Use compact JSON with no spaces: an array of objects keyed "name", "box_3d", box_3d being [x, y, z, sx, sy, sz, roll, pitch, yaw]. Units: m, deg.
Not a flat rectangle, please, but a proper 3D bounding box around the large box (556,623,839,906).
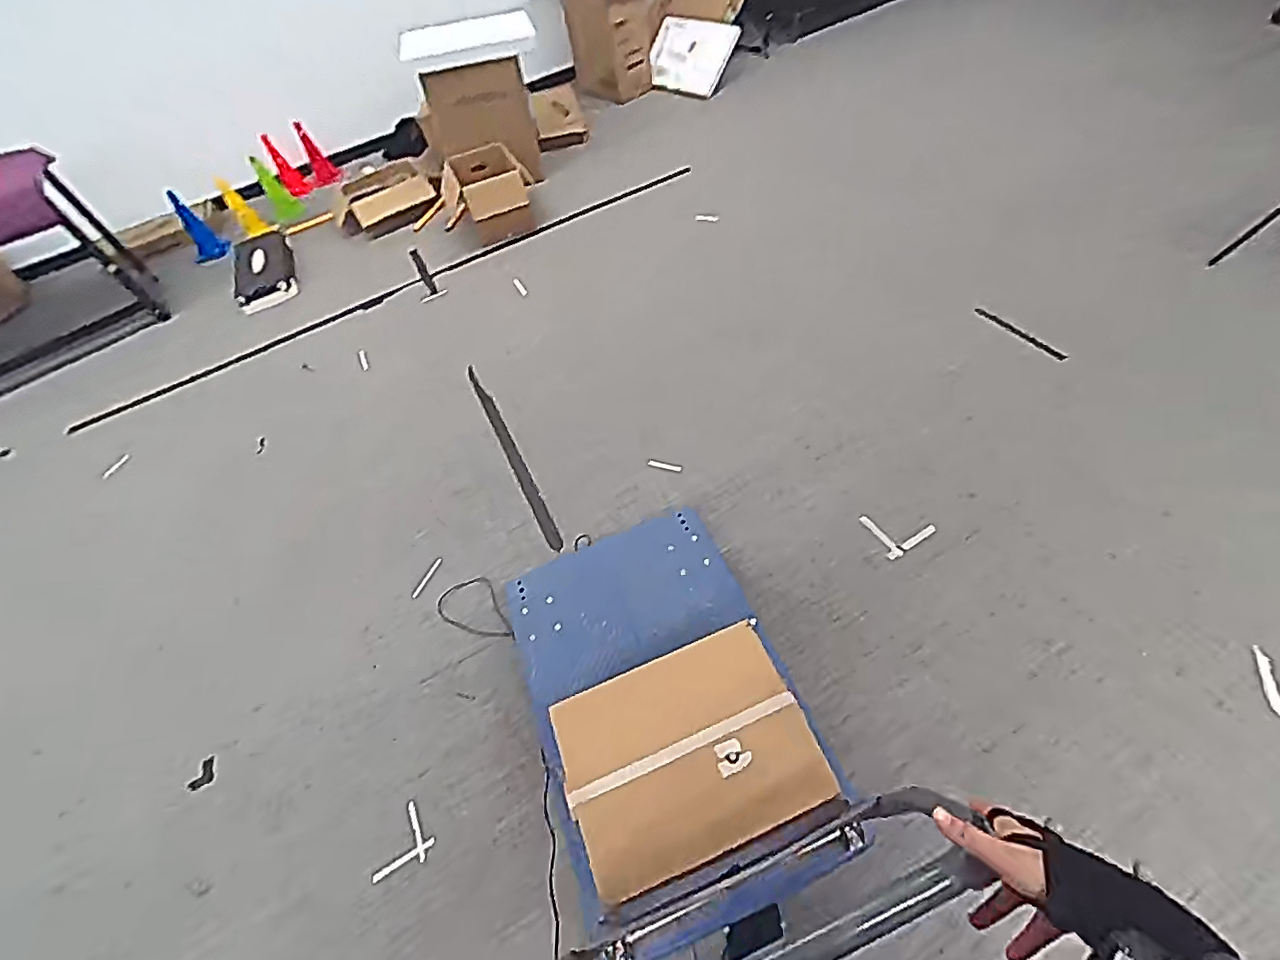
[{"name":"large box","box_3d":[0.100,0.542,1.033,0.408,0.320,0.320,-22,54,-7]}]
